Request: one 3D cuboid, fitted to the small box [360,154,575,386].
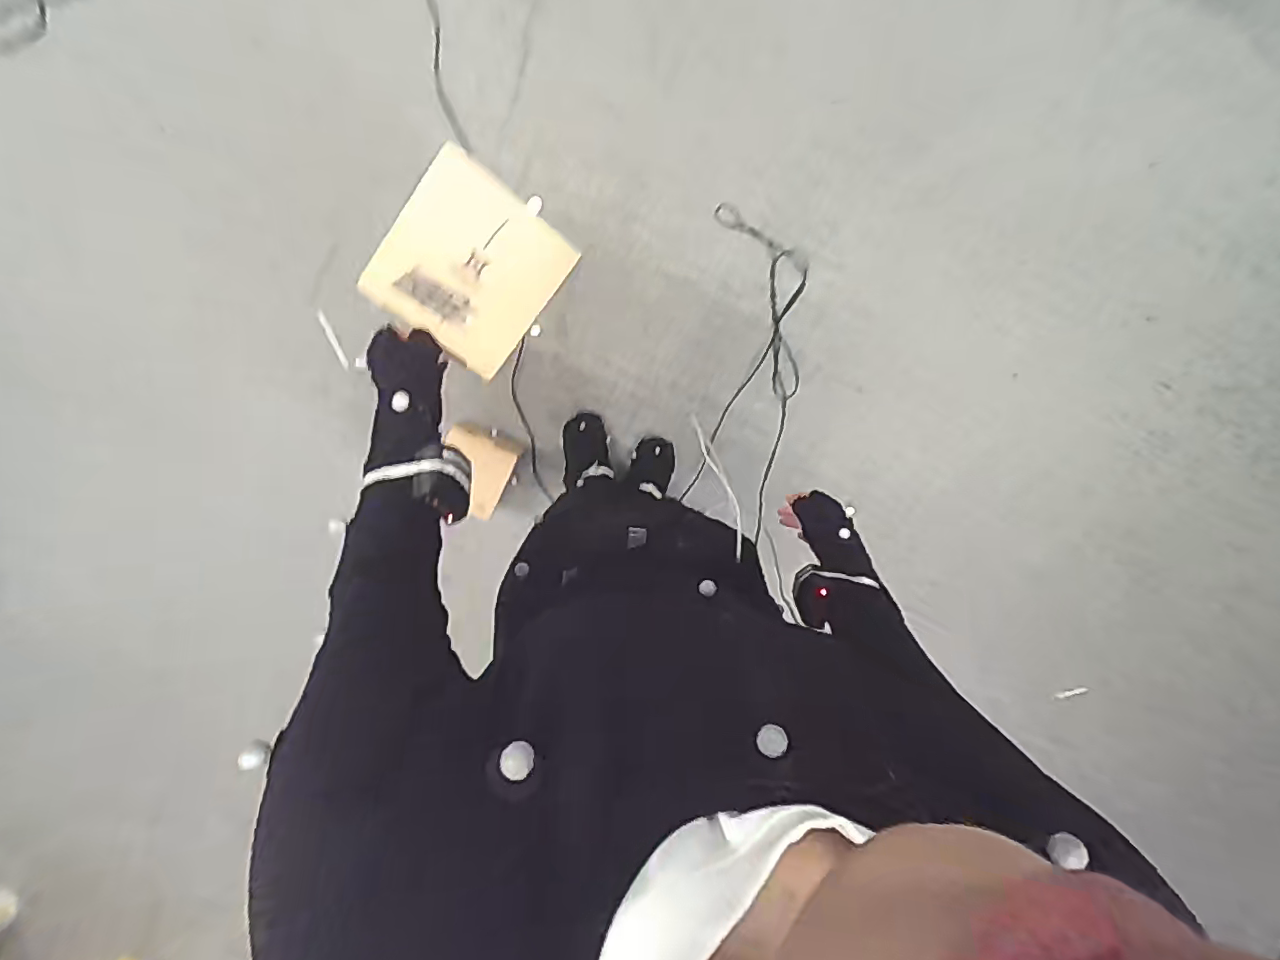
[{"bbox_3d":[-0.192,-0.243,0.650,0.168,0.176,0.179,34,103,-19],"label":"small box"}]

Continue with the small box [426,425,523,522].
[{"bbox_3d":[-0.400,-0.024,1.337,0.168,0.176,0.179,26,97,-10],"label":"small box"}]
